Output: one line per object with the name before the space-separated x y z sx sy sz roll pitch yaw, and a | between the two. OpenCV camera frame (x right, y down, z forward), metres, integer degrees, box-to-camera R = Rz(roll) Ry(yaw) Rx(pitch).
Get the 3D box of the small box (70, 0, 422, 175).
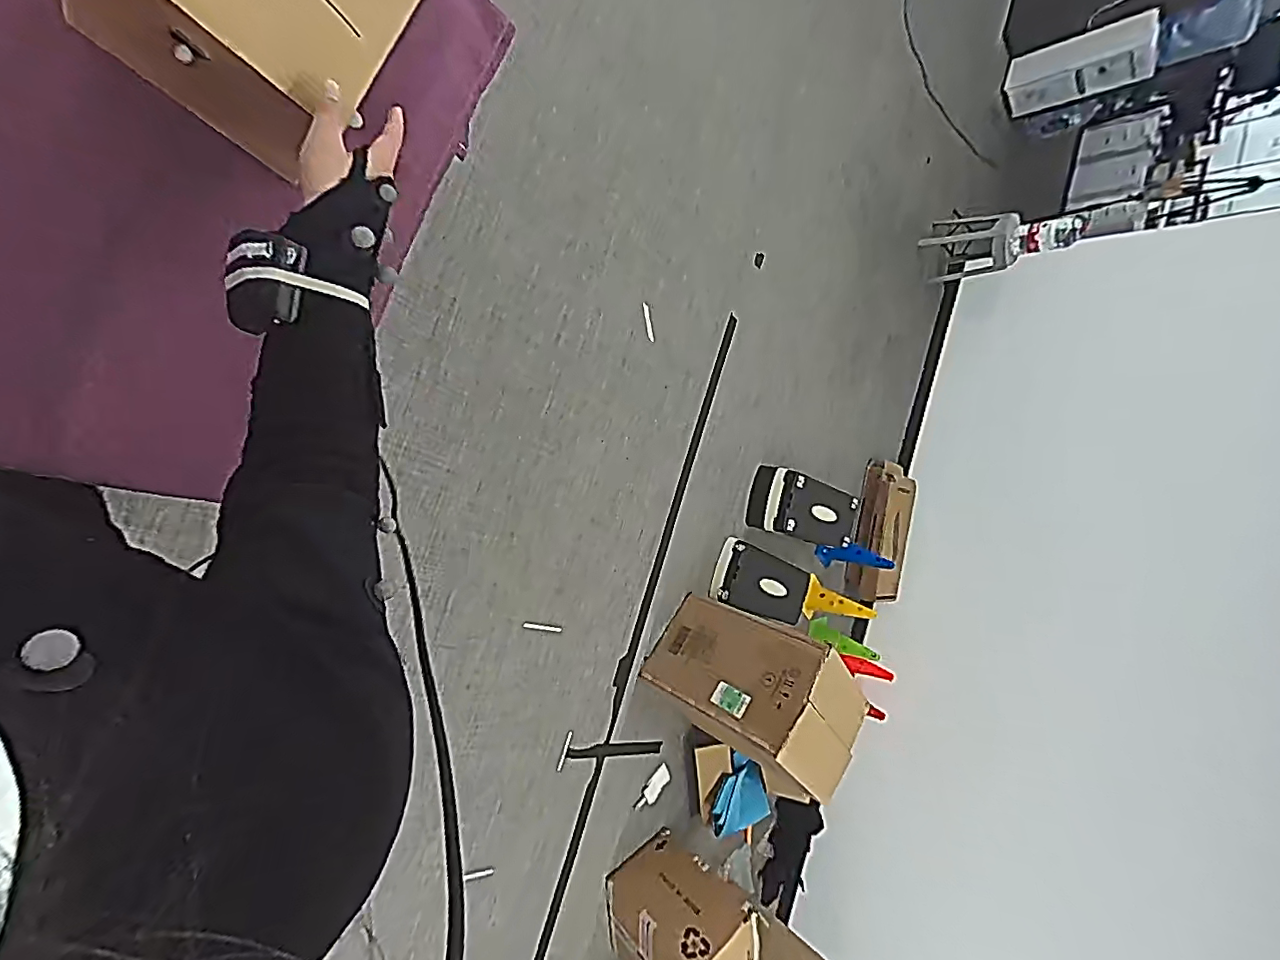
small box | -0.325 -0.393 0.450 0.179 0.176 0.168 32 77 -44
